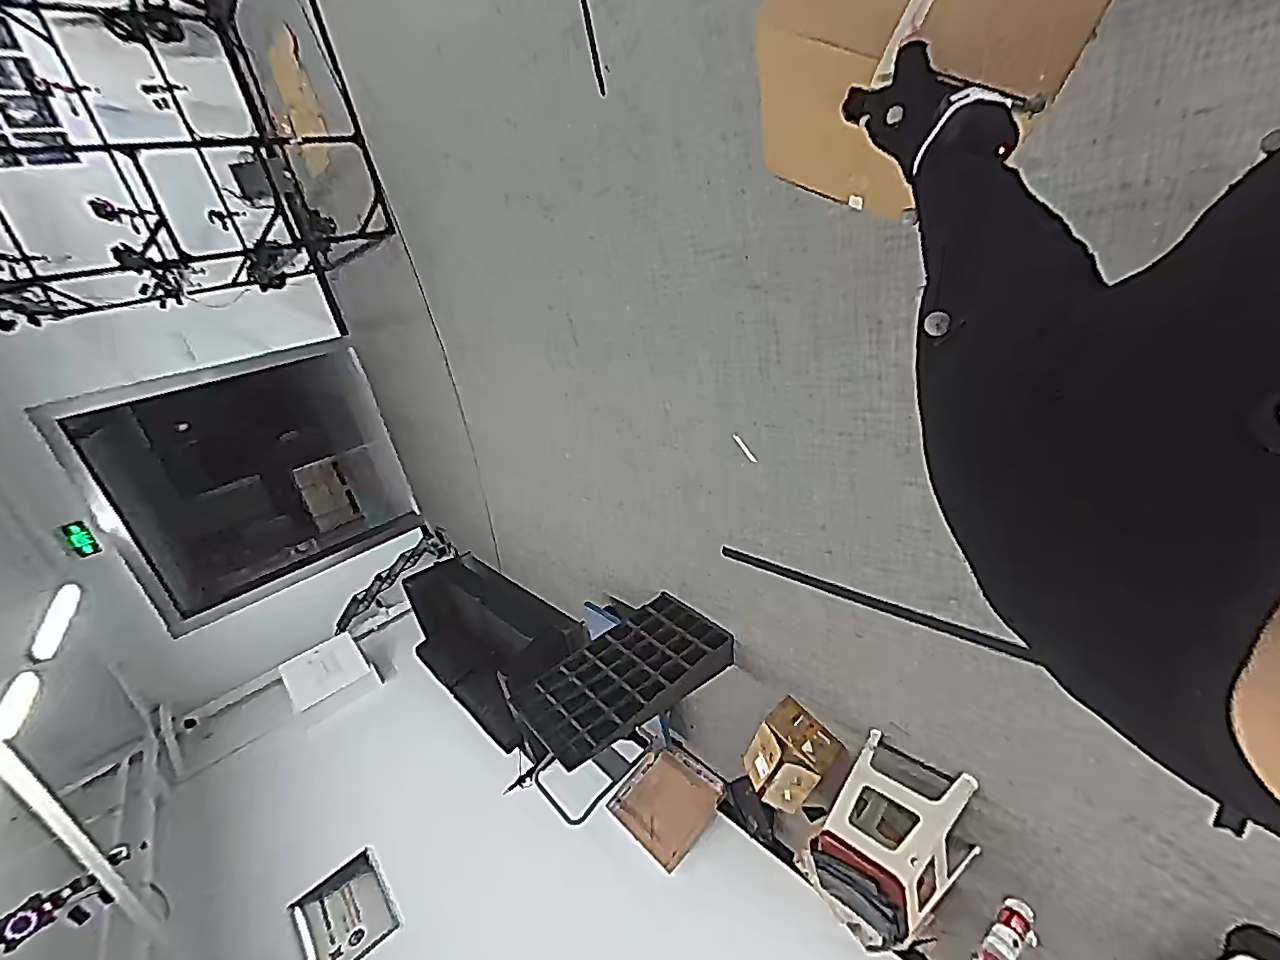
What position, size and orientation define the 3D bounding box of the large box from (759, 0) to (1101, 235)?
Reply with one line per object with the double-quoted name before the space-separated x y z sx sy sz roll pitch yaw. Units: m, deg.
"large box" 0.390 -0.611 0.689 0.320 0.320 0.408 29 100 15
